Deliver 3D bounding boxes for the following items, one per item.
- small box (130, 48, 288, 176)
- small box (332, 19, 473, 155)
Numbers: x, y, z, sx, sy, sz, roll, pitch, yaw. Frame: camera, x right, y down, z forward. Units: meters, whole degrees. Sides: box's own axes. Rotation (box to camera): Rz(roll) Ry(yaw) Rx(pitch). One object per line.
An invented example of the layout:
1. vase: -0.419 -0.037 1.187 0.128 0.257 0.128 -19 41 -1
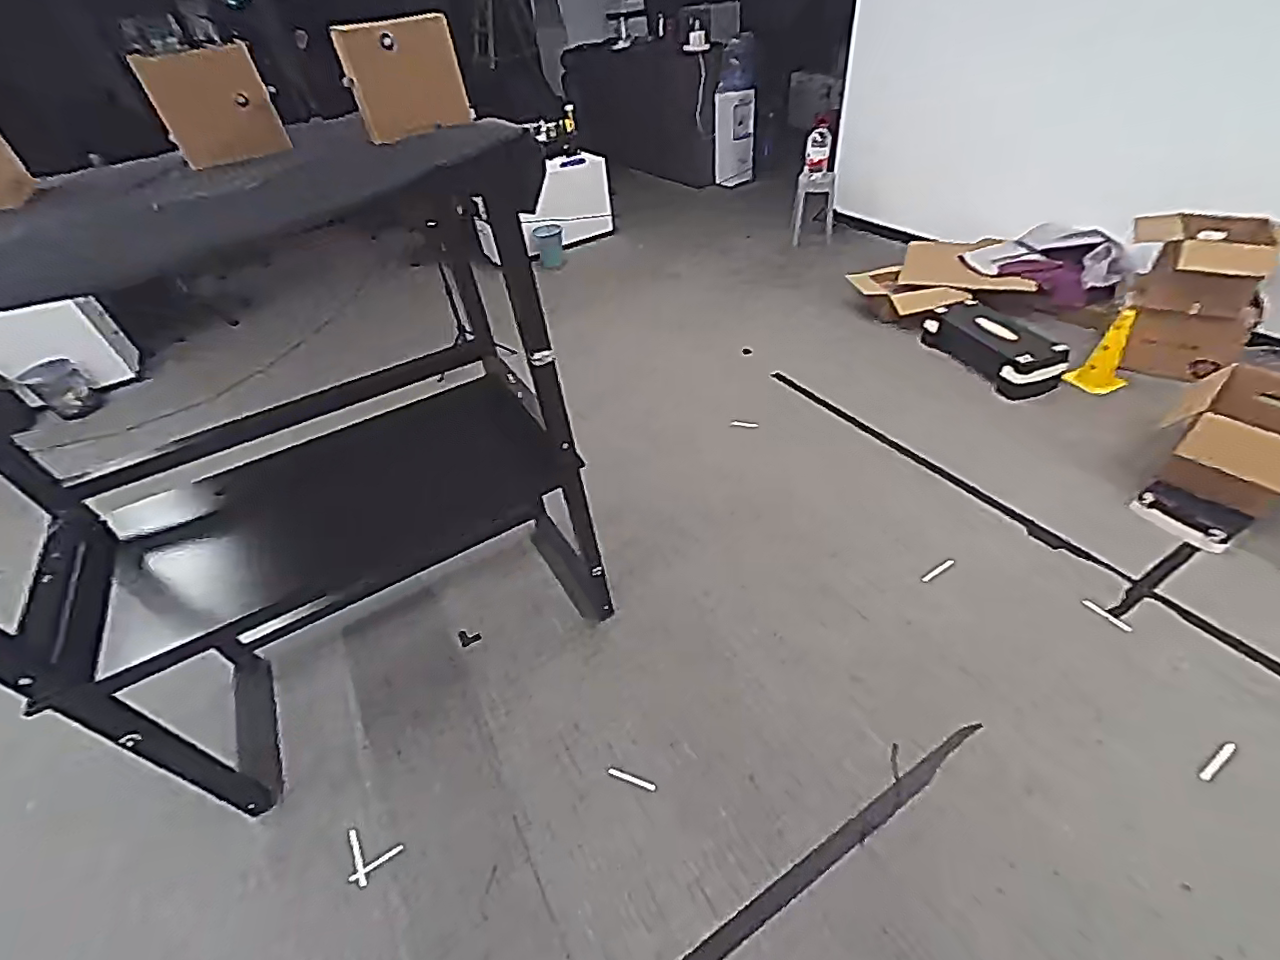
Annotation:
1. small box: -0.787 -0.690 1.013 0.179 0.176 0.168 -25 44 -18
2. small box: -0.413 -0.685 0.947 0.168 0.176 0.179 -24 44 -16
